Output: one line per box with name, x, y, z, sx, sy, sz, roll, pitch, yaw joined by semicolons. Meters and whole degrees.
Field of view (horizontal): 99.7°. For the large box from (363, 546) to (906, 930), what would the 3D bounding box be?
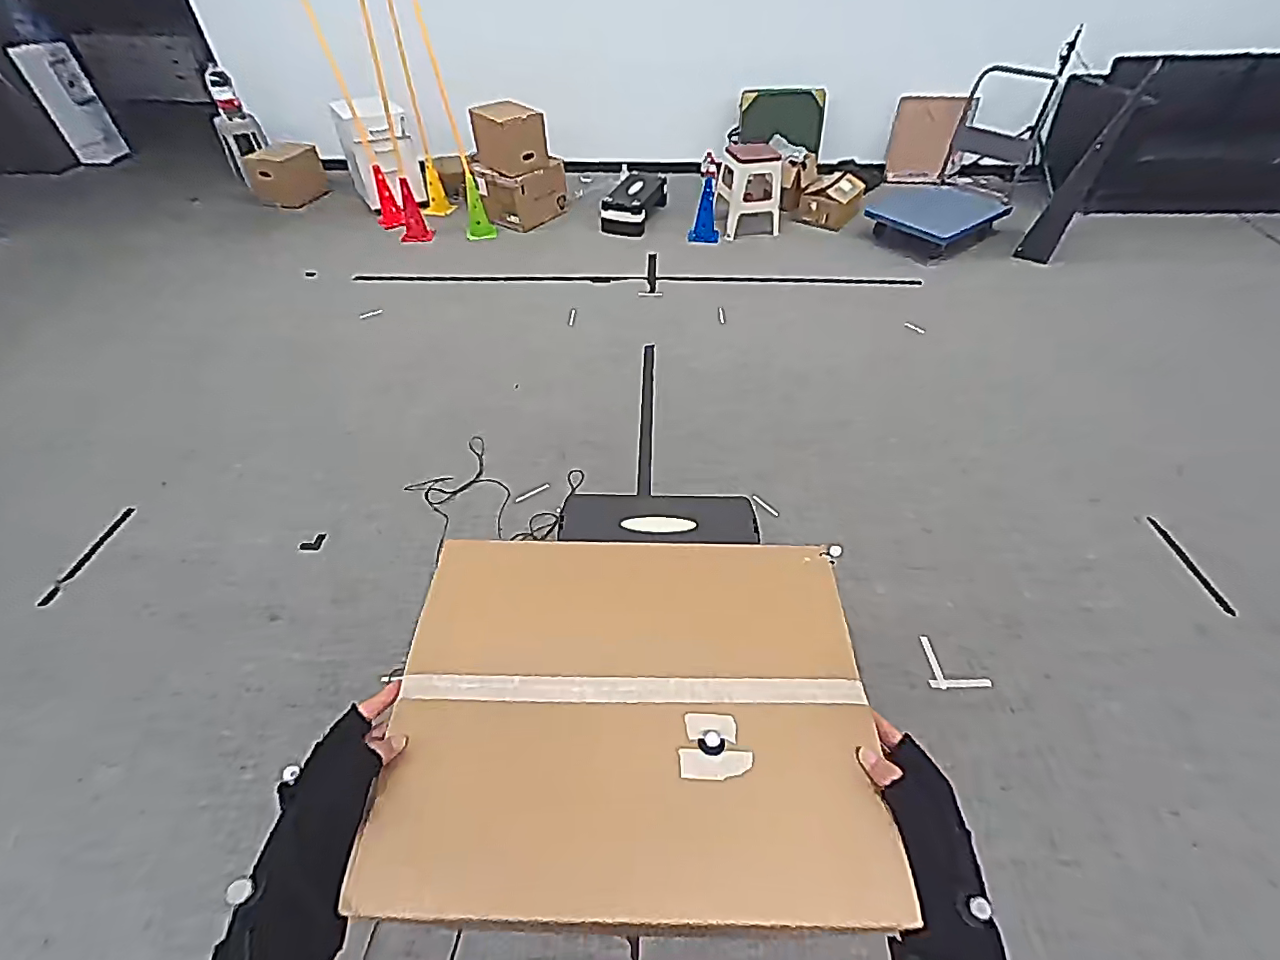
large box;-0.005;0.287;0.597;0.408;0.320;0.320;1;48;0
